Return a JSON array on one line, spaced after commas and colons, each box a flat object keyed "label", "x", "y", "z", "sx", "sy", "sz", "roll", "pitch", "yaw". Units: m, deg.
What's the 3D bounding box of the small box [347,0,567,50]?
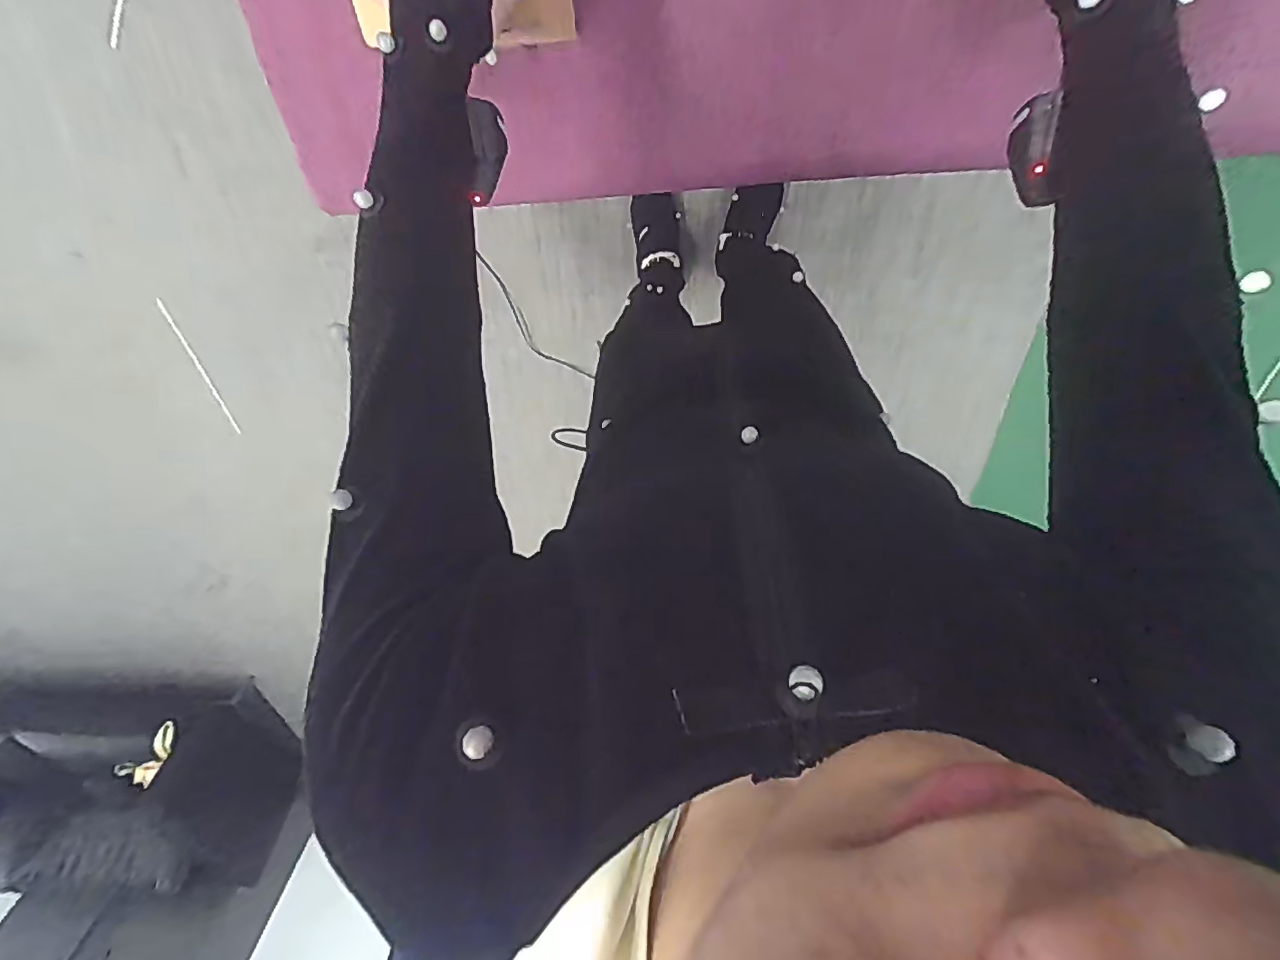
[{"label": "small box", "x": -0.171, "y": -0.513, "z": 0.492, "sx": 0.168, "sy": 0.176, "sz": 0.179, "roll": 0, "pitch": 127, "yaw": 7}]
